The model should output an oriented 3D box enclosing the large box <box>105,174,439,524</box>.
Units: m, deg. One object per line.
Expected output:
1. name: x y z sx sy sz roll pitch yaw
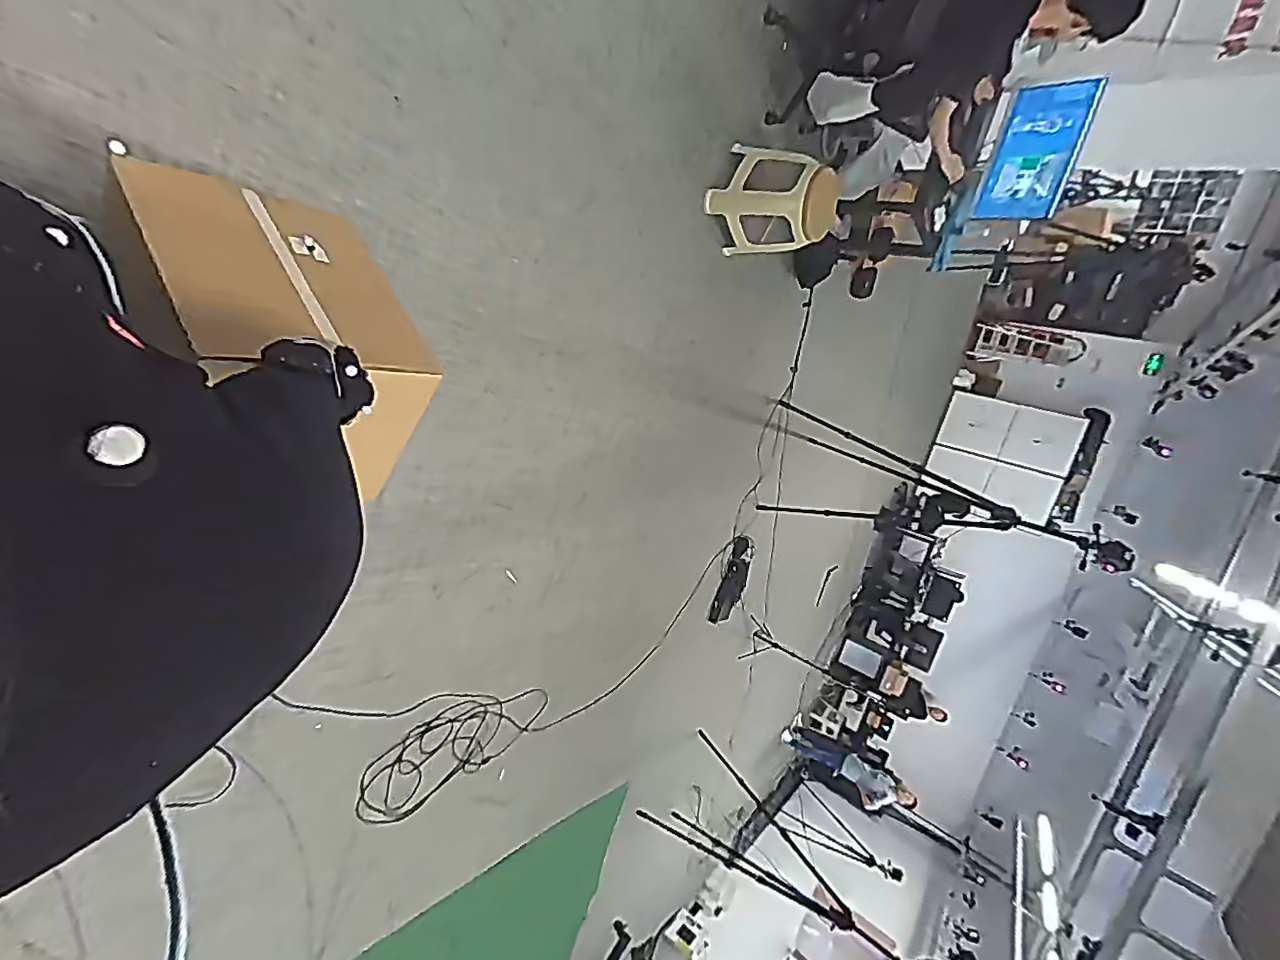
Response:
1. large box: -0.603 -0.193 0.876 0.320 0.408 0.320 -9 146 -53
